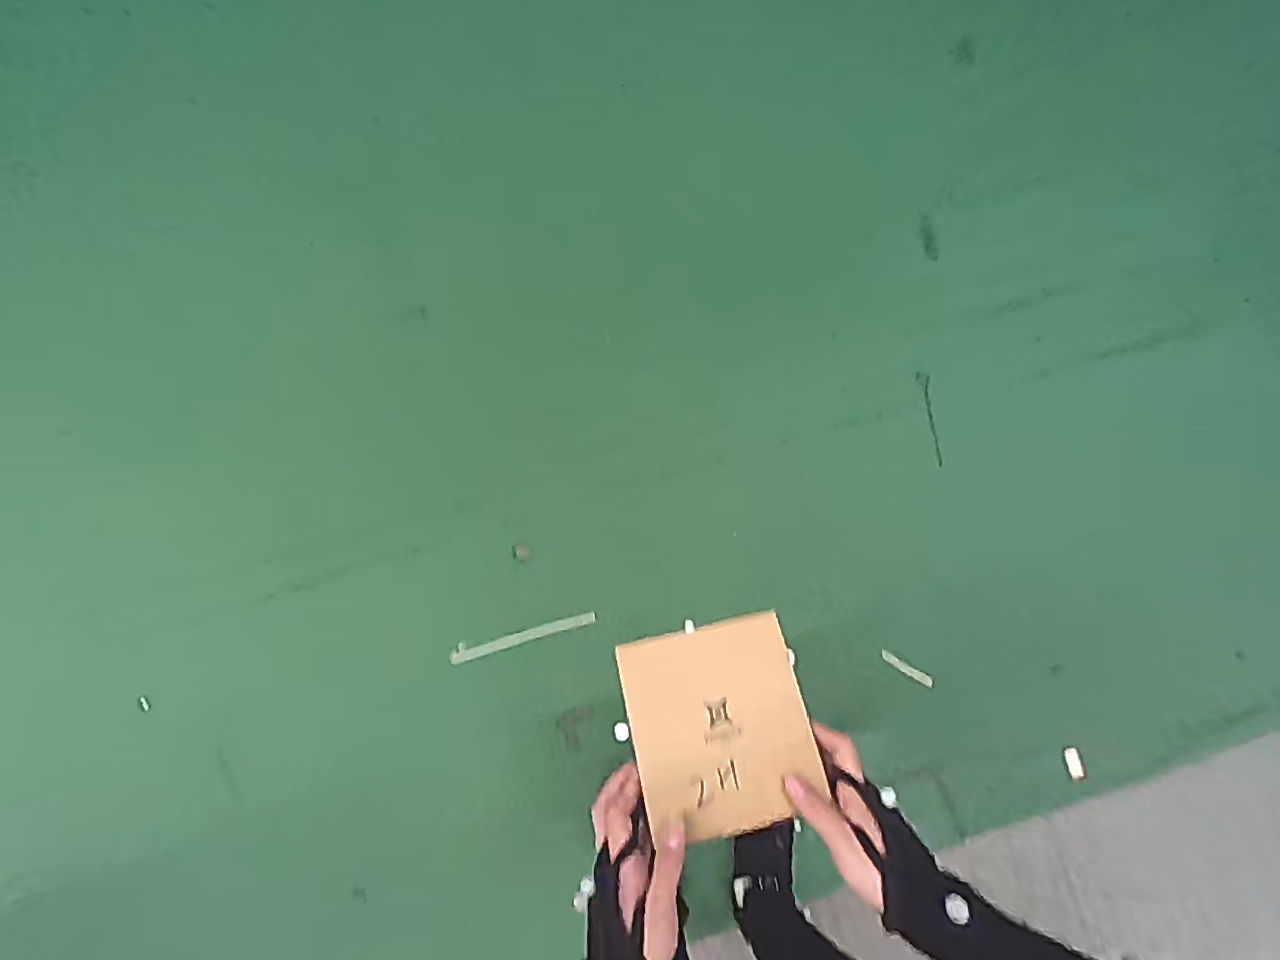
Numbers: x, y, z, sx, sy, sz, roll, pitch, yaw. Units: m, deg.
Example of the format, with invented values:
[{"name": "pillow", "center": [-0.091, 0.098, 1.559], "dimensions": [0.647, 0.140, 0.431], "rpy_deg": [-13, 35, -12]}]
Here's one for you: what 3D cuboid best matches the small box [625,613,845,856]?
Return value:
[{"name": "small box", "center": [0.079, 0.253, 0.562], "dimensions": [0.168, 0.176, 0.179], "rpy_deg": [-11, 69, -6]}]
